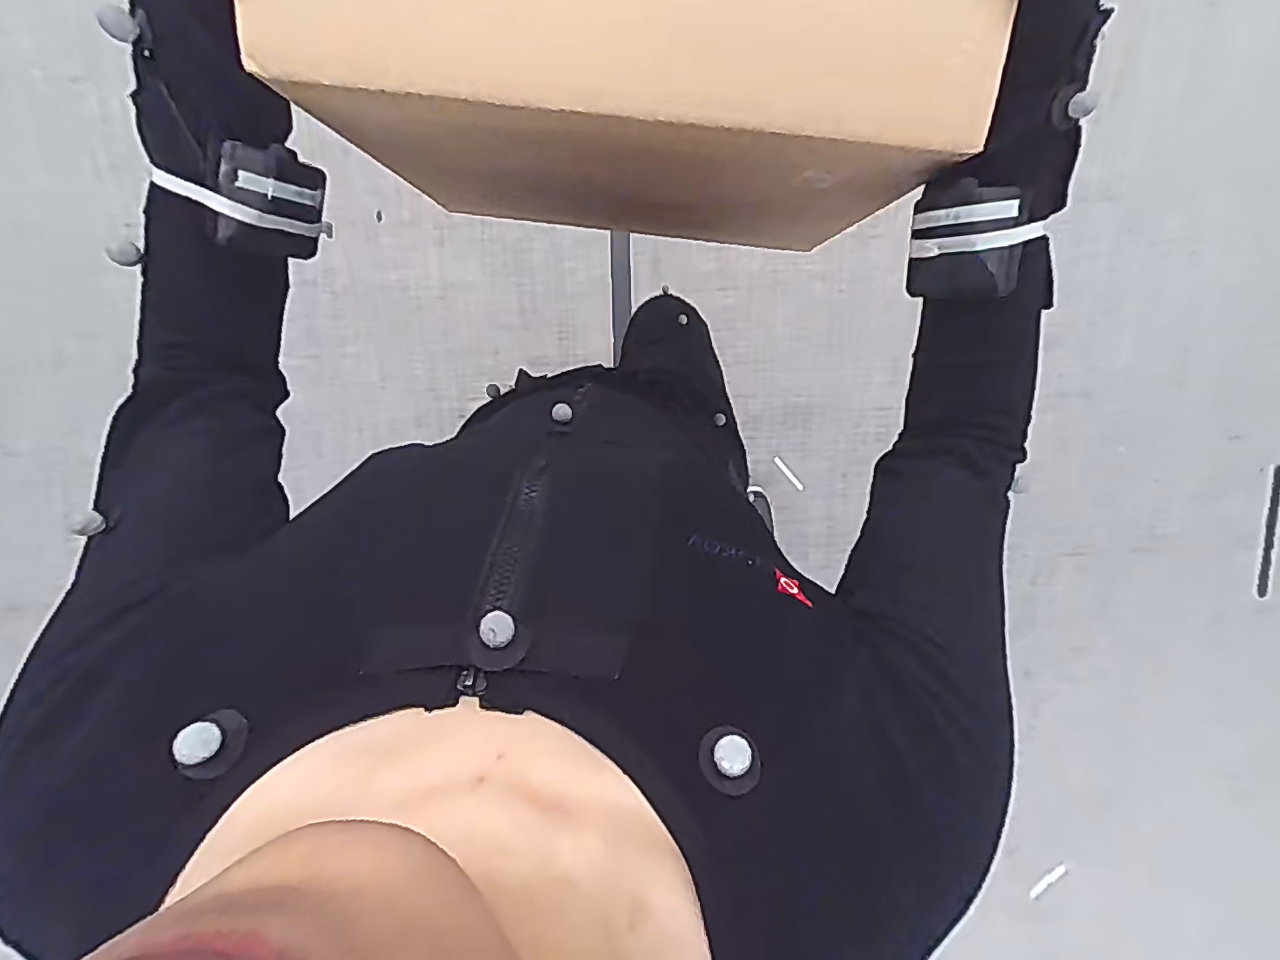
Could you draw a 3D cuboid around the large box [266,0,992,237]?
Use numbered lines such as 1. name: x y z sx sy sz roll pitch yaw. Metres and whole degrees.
1. large box: 0.002 -0.397 0.417 0.408 0.320 0.320 5 103 -1
